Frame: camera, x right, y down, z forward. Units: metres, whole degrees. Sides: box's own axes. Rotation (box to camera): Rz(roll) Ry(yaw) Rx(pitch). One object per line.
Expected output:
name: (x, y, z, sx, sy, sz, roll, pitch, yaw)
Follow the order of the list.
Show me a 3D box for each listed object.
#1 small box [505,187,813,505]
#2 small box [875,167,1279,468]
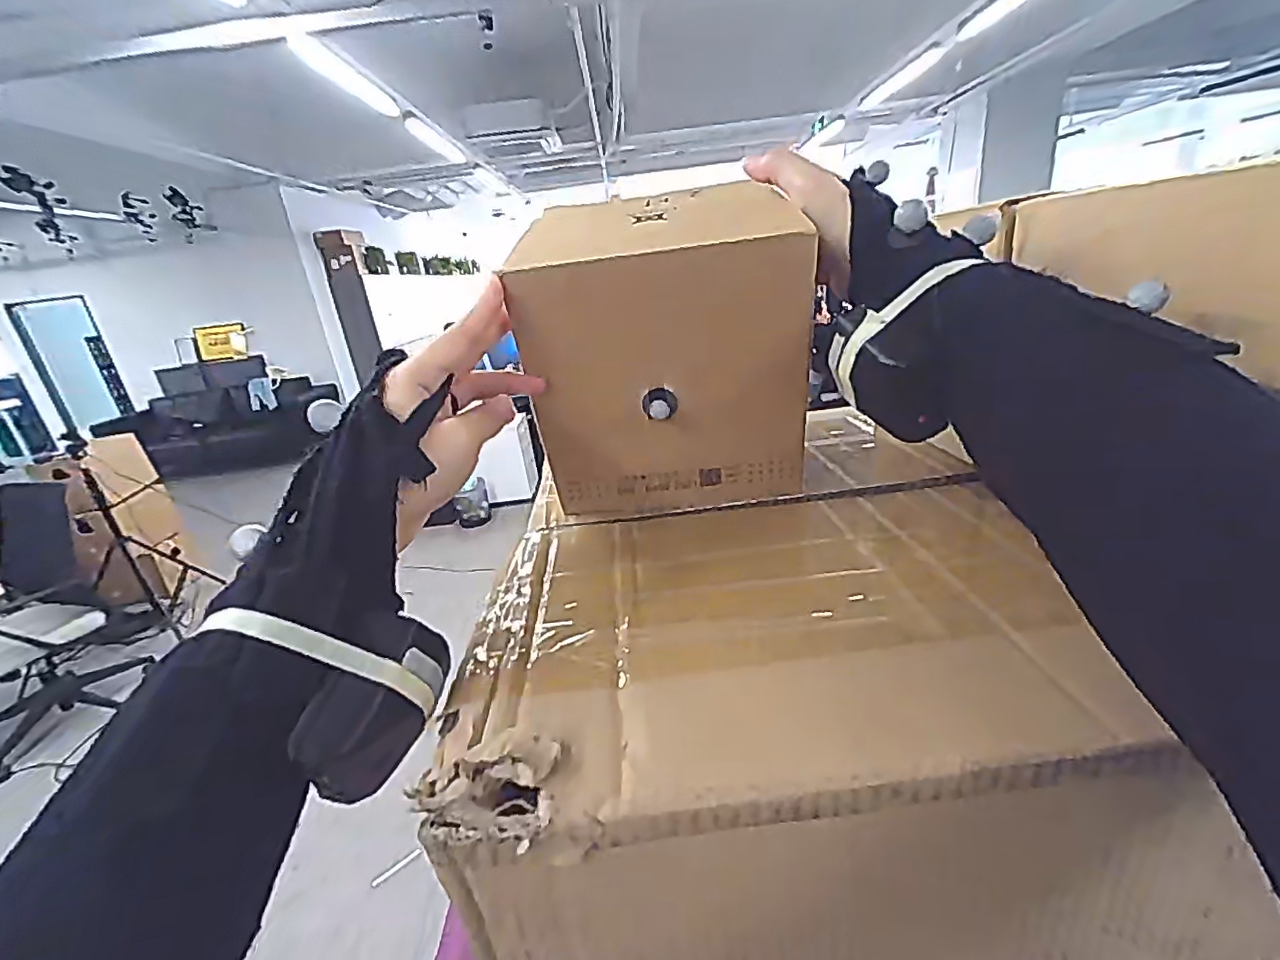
small box: (0.020, -0.094, 0.390, 0.168, 0.176, 0.179, -5, 36, 4)
small box: (0.299, -0.114, 0.409, 0.179, 0.176, 0.168, -8, 20, 0)
